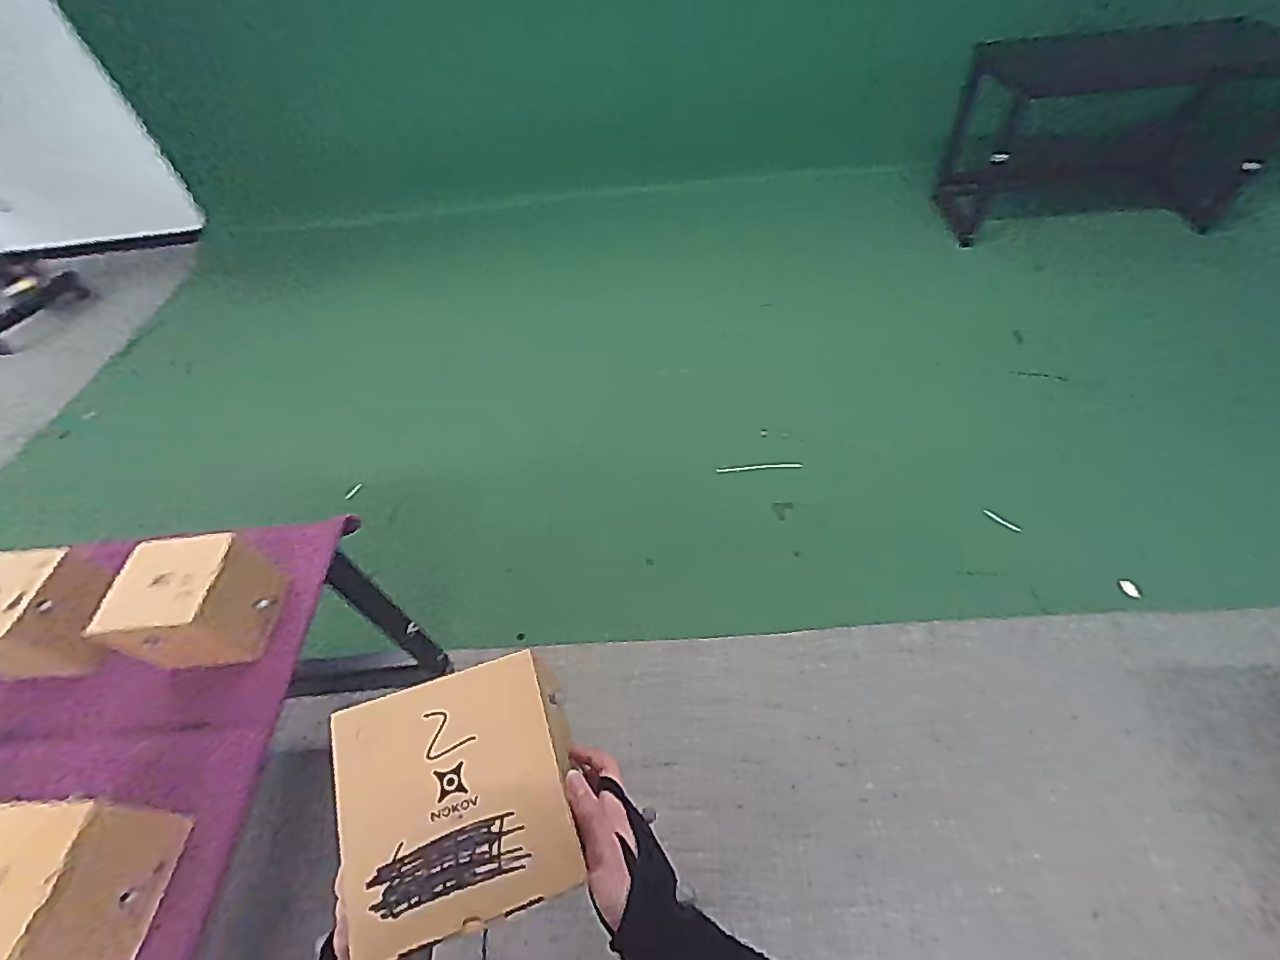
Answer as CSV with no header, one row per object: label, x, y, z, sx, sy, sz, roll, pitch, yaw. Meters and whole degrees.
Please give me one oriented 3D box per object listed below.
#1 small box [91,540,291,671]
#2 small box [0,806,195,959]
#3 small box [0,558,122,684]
small box,-0.771,0.226,0.953,0.179,0.176,0.168,-6,52,2
small box,-0.756,0.537,0.706,0.179,0.176,0.168,-5,51,5
small box,-1.078,0.258,0.975,0.179,0.176,0.168,-5,52,4
